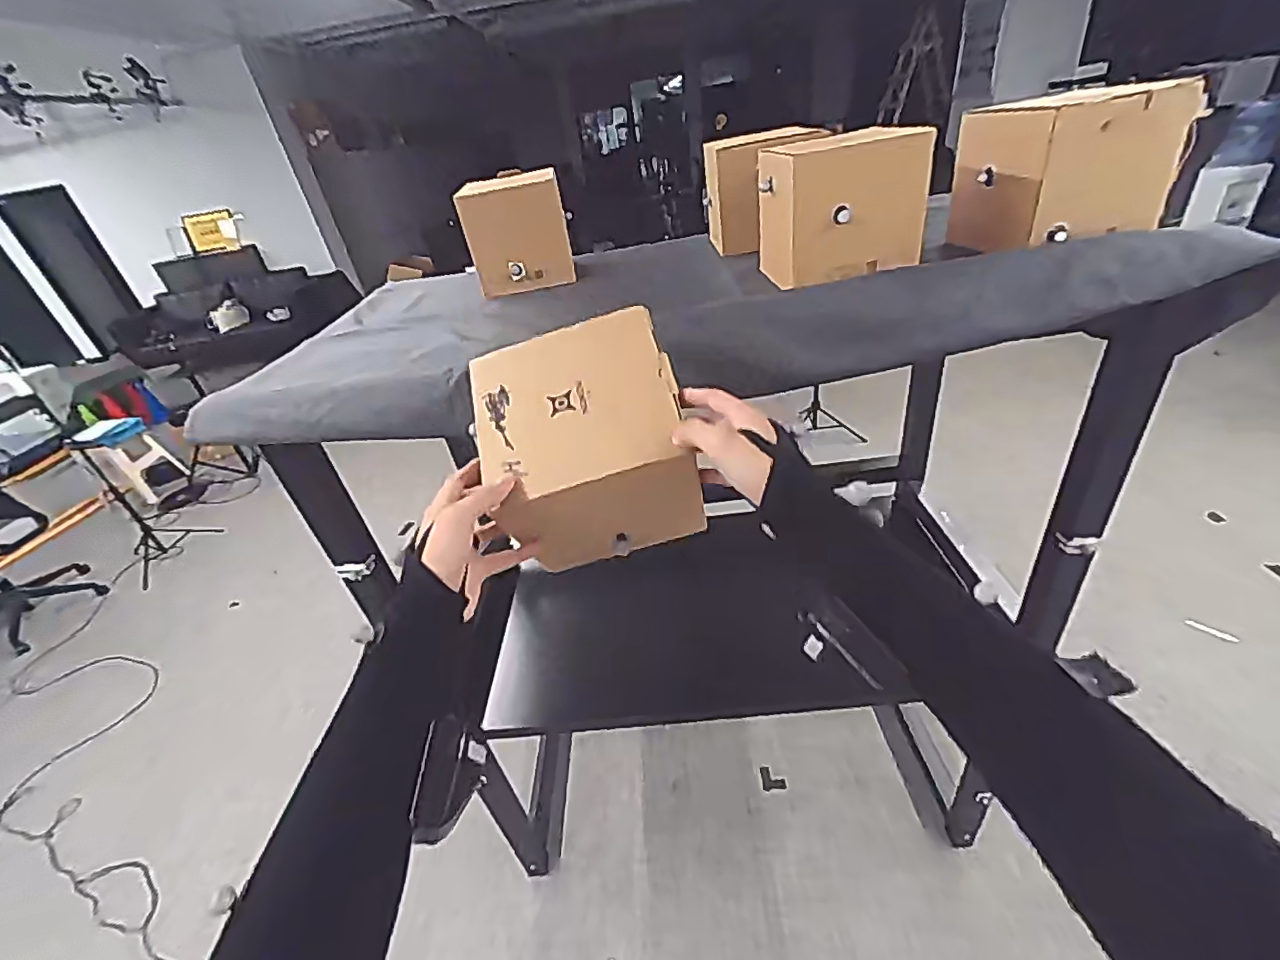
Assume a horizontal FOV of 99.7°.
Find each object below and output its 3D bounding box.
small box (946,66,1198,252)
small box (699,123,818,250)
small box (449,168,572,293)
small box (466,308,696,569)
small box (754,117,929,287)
[{"bbox_3d":[0.526,-0.401,0.692,0.168,0.176,0.179,-11,32,0],"label":"small box"},{"bbox_3d":[0.206,-0.518,0.958,0.179,0.176,0.168,-8,34,4],"label":"small box"},{"bbox_3d":[-0.222,-0.447,0.970,0.168,0.176,0.179,-12,33,-1],"label":"small box"},{"bbox_3d":[-0.048,-0.030,0.529,0.179,0.176,0.168,-16,61,2],"label":"small box"},{"bbox_3d":[0.255,-0.365,0.718,0.168,0.176,0.179,-9,32,2],"label":"small box"}]
